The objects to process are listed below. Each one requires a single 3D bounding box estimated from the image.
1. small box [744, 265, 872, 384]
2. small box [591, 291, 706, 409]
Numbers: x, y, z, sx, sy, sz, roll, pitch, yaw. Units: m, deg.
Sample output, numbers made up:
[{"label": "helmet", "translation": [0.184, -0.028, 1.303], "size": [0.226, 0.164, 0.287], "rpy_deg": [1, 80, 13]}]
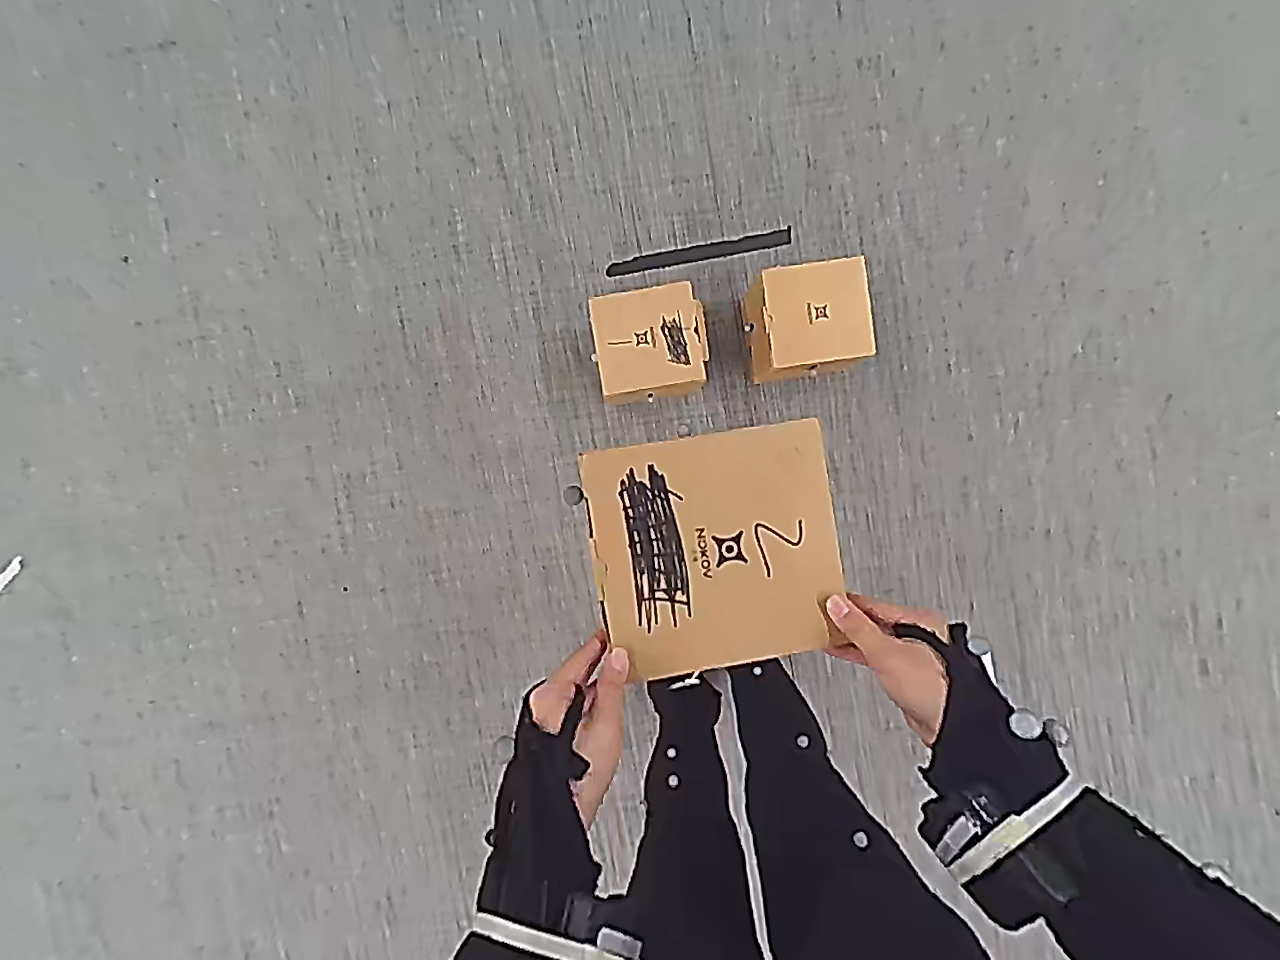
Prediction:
[{"label": "small box", "translation": [0.296, -0.273, 0.982], "size": [0.179, 0.176, 0.168], "rpy_deg": [-7, 93, 3]}, {"label": "small box", "translation": [0.014, -0.228, 0.983], "size": [0.179, 0.176, 0.168], "rpy_deg": [-9, 92, 1]}]
